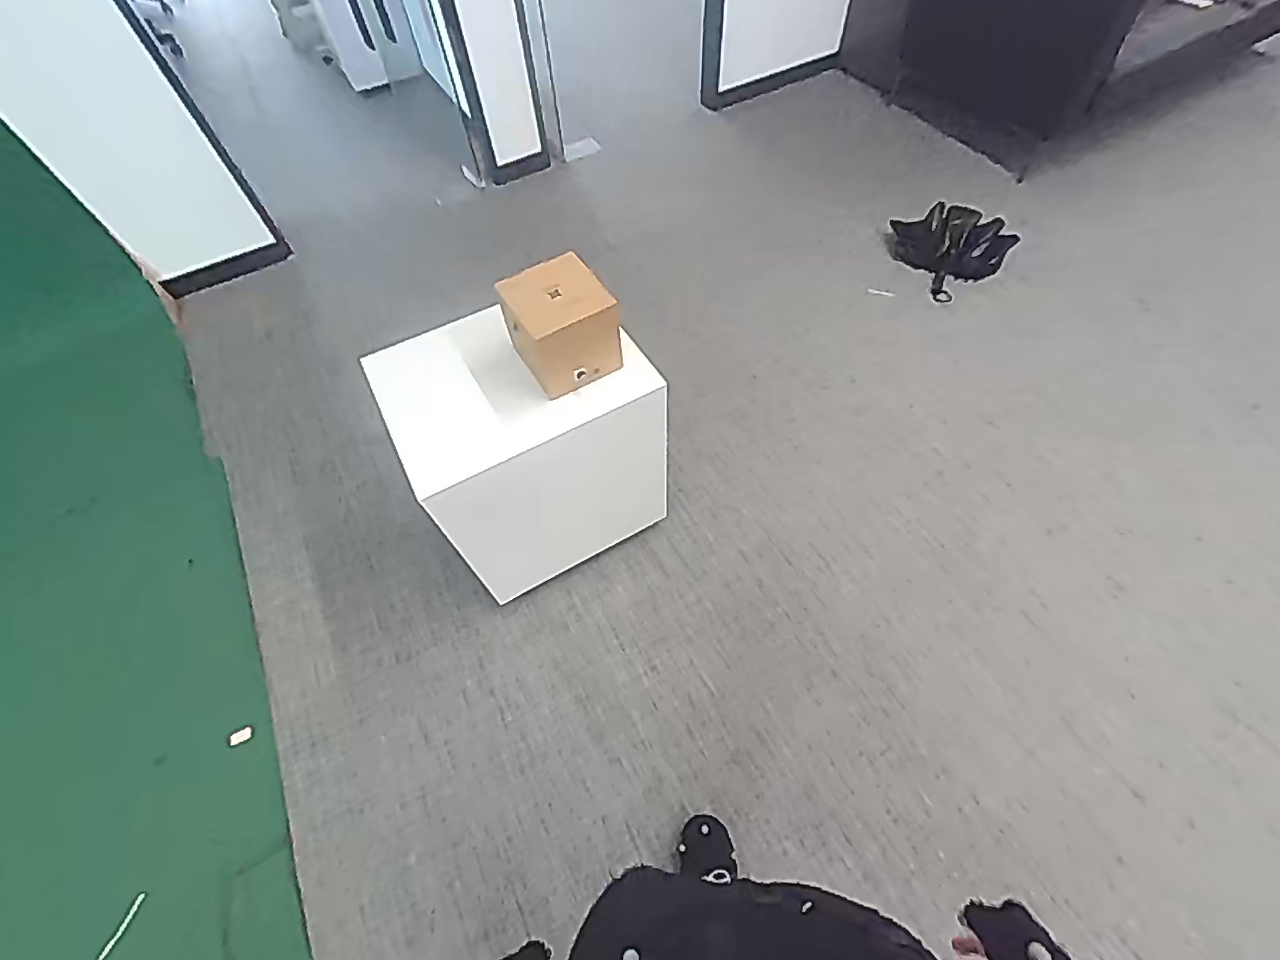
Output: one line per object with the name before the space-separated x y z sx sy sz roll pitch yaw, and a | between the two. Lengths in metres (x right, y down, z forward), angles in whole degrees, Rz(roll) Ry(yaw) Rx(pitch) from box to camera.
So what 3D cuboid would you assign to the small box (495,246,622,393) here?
small box | -0.148 -0.298 1.021 0.168 0.176 0.179 -30 63 -13
